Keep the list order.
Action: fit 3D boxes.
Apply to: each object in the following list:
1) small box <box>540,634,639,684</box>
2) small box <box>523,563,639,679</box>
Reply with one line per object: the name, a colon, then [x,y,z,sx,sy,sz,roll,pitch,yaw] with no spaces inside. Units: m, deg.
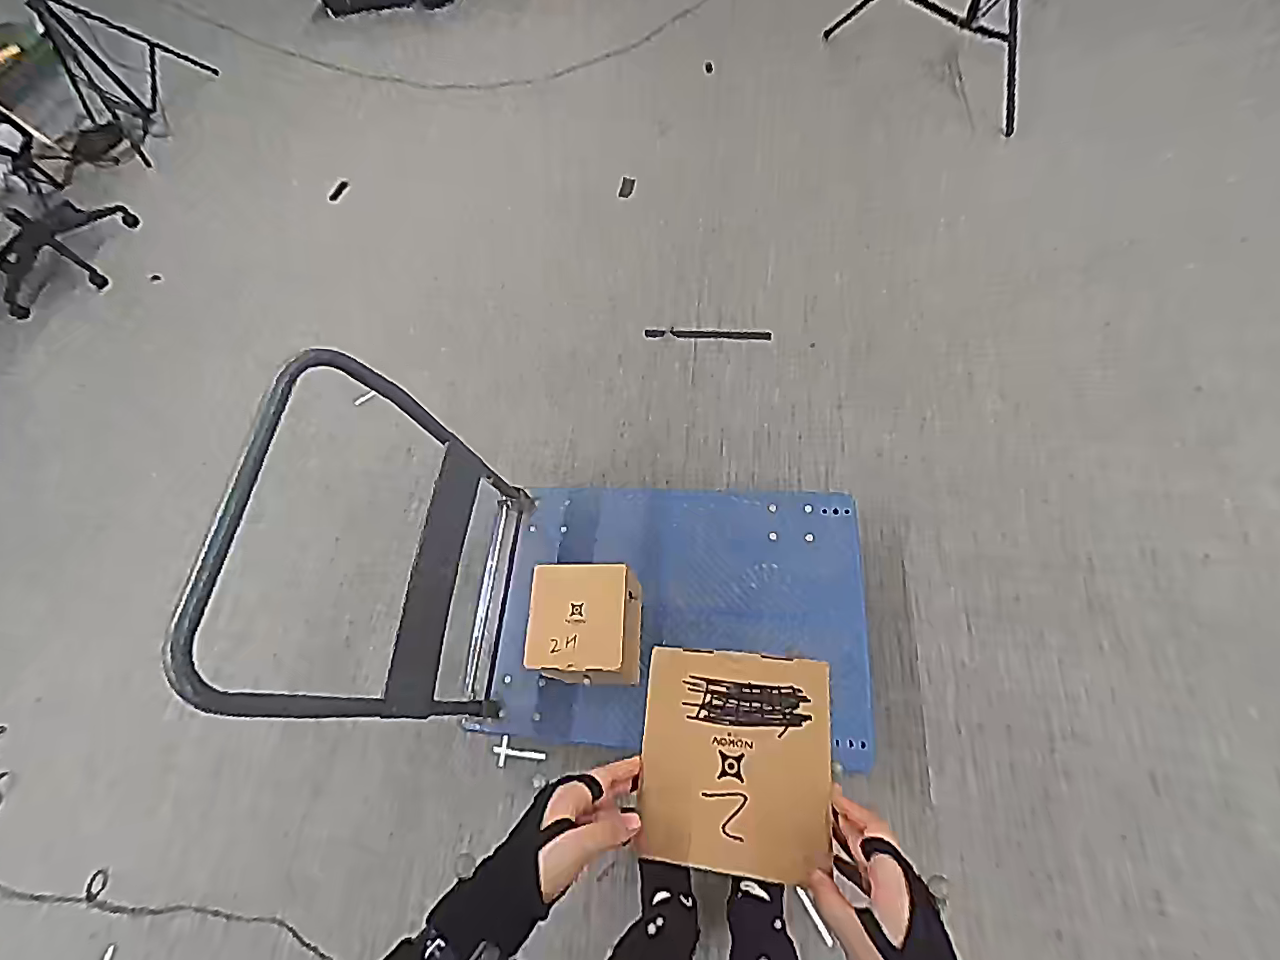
small box: [-0.096,0.323,1.124,0.168,0.176,0.179,-2,66,9]
small box: [-0.096,0.257,0.971,0.168,0.176,0.179,-2,66,9]
